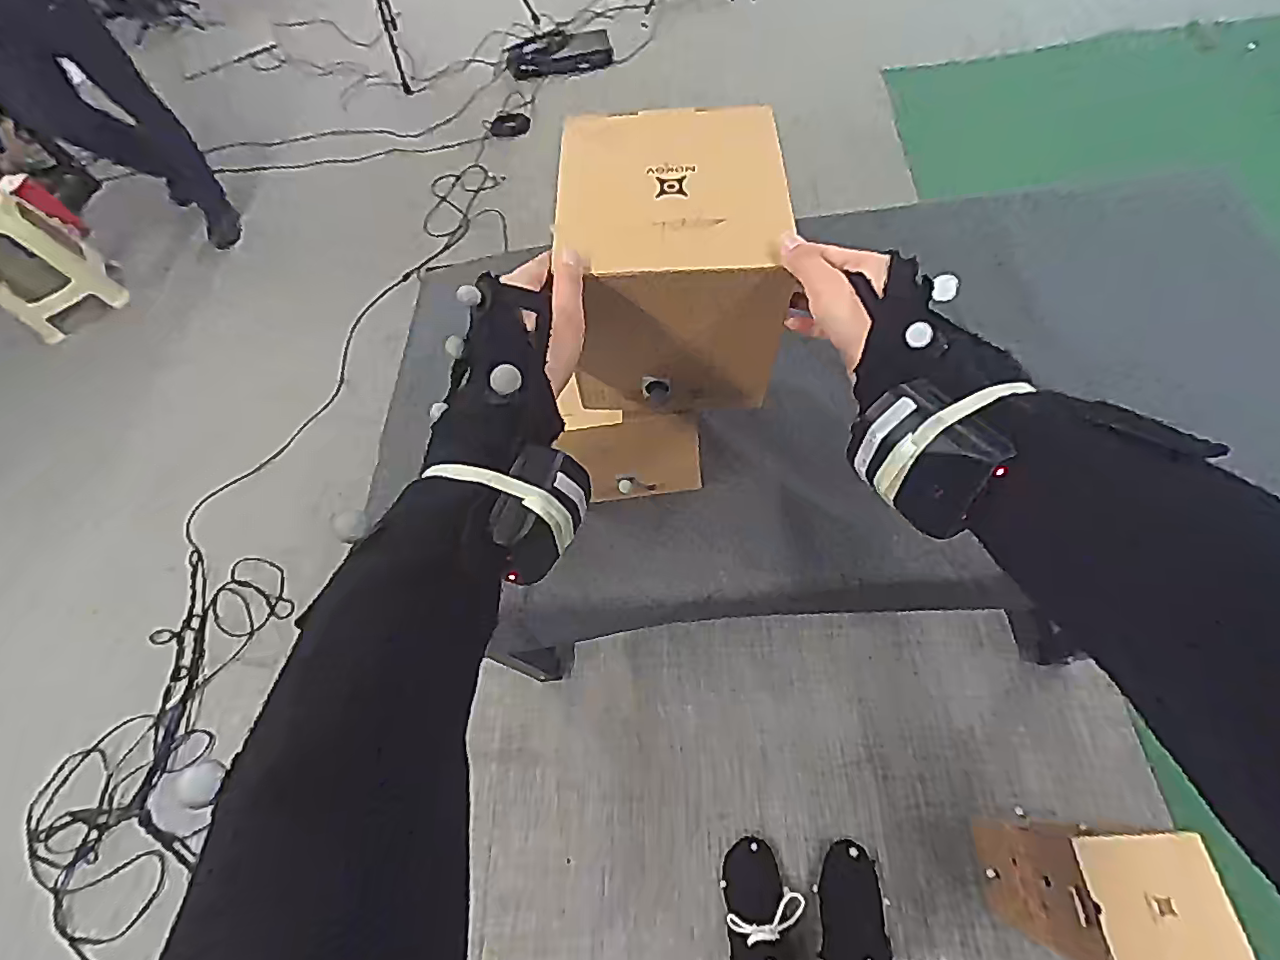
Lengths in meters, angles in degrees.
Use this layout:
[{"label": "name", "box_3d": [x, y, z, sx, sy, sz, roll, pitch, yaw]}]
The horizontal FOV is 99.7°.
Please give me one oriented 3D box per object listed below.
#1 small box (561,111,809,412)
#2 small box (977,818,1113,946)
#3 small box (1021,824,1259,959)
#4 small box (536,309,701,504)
[{"label": "small box", "box_3d": [0.031, -0.176, 0.461, 0.168, 0.176, 0.179, -2, 64, 2]}, {"label": "small box", "box_3d": [0.720, 0.691, 0.941, 0.179, 0.176, 0.168, -5, 60, 7]}, {"label": "small box", "box_3d": [0.716, 0.613, 0.795, 0.179, 0.176, 0.168, -7, 61, 6]}, {"label": "small box", "box_3d": [-0.019, -0.091, 0.649, 0.168, 0.176, 0.179, -8, 61, 5]}]
